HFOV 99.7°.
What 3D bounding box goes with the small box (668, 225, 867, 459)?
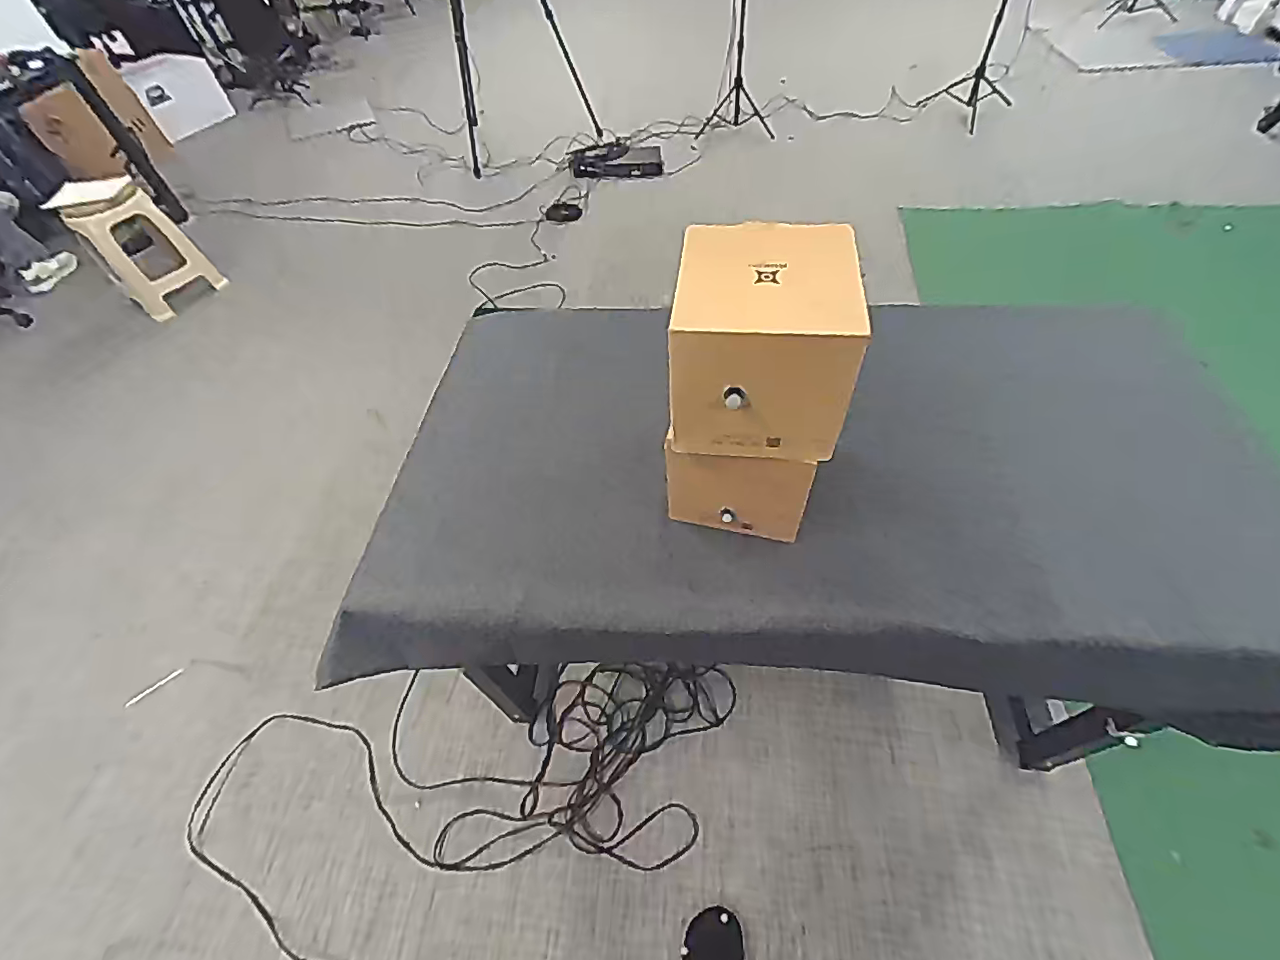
[{"bbox_3d":[0.123,-0.138,0.558,0.168,0.176,0.179,4,53,8],"label":"small box"}]
